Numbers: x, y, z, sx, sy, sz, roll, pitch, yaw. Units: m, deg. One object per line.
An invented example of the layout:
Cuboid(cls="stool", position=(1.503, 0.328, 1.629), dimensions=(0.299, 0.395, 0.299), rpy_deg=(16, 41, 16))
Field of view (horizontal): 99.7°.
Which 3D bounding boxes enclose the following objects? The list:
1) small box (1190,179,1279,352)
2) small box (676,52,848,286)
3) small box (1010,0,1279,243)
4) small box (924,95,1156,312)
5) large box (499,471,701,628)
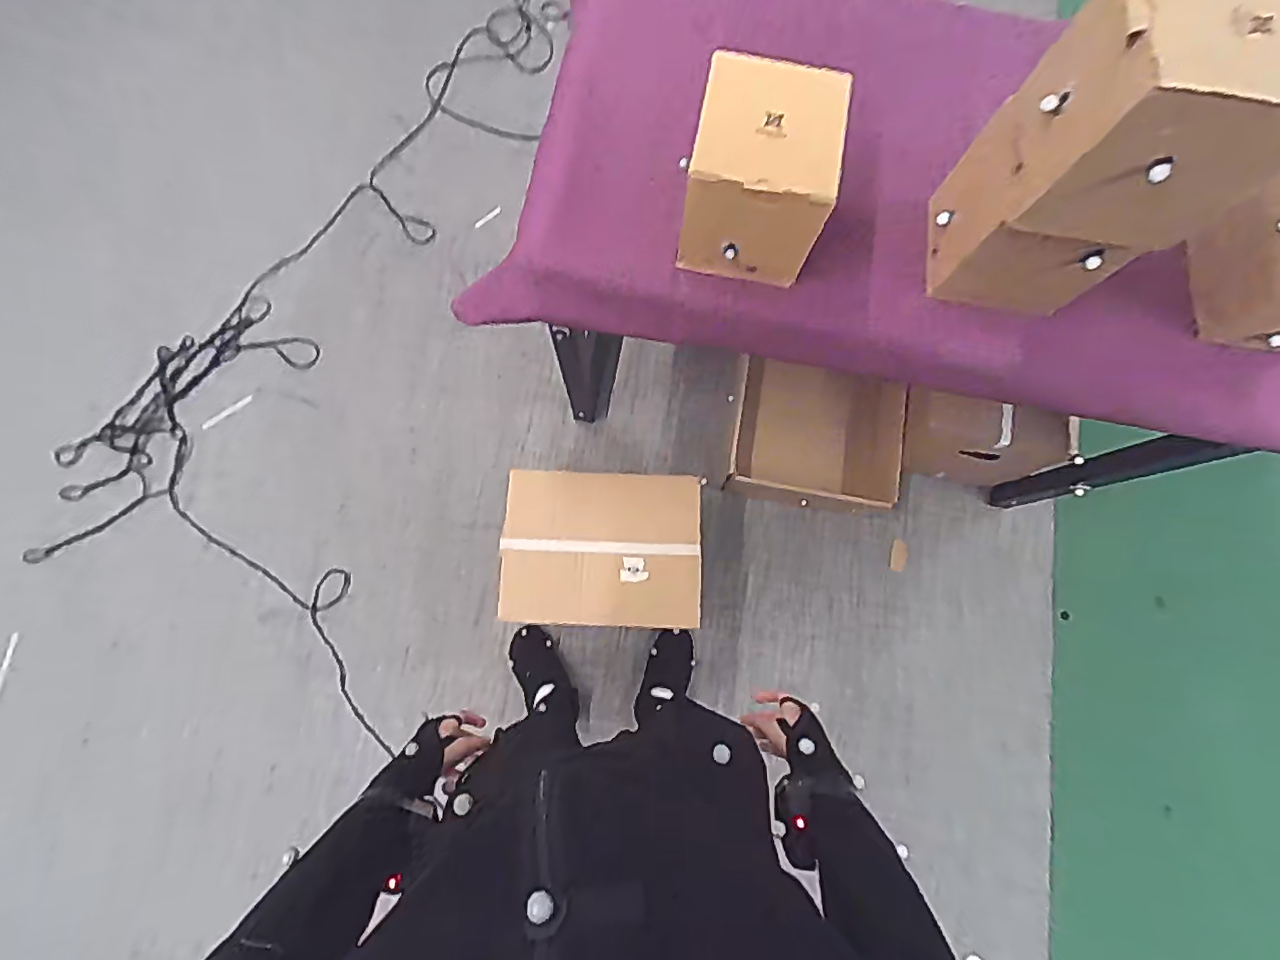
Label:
Cuboid(cls="small box", position=(0.856, -0.281, 0.680), dimensions=(0.168, 0.176, 0.179), rpy_deg=(7, 76, 2))
Cuboid(cls="small box", position=(0.144, -0.381, 0.685), dimensions=(0.168, 0.176, 0.179), rpy_deg=(10, 77, 0))
Cuboid(cls="small box", position=(0.490, -0.355, 0.519), dimensions=(0.179, 0.176, 0.168), rpy_deg=(8, 76, 1))
Cuboid(cls="small box", position=(0.493, -0.334, 0.682), dimensions=(0.179, 0.176, 0.168), rpy_deg=(9, 76, 1))
Cuboid(cls="large box", position=(-0.082, 0.172, 1.236), dimensions=(0.408, 0.320, 0.320), rpy_deg=(3, 77, -2))
